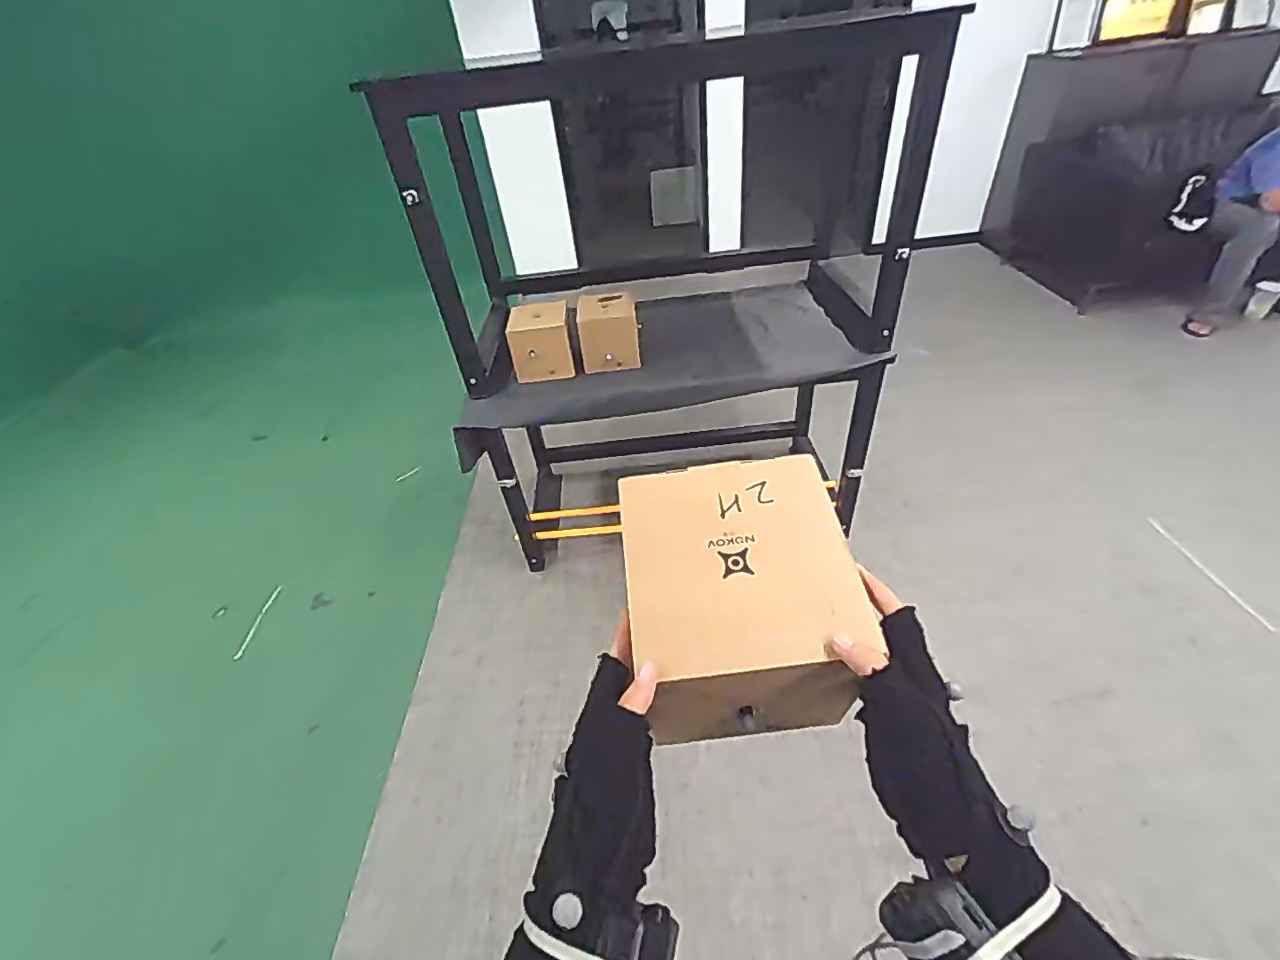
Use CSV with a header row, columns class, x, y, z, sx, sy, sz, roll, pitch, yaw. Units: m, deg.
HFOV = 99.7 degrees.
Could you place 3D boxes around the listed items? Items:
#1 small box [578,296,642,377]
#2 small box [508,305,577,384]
class,x,y,z,sx,sy,sz,roll,pitch,yaw
small box,-0.086,-0.423,1.599,0.168,0.176,0.179,-7,40,2
small box,-0.280,-0.392,1.592,0.168,0.176,0.179,-7,39,0
